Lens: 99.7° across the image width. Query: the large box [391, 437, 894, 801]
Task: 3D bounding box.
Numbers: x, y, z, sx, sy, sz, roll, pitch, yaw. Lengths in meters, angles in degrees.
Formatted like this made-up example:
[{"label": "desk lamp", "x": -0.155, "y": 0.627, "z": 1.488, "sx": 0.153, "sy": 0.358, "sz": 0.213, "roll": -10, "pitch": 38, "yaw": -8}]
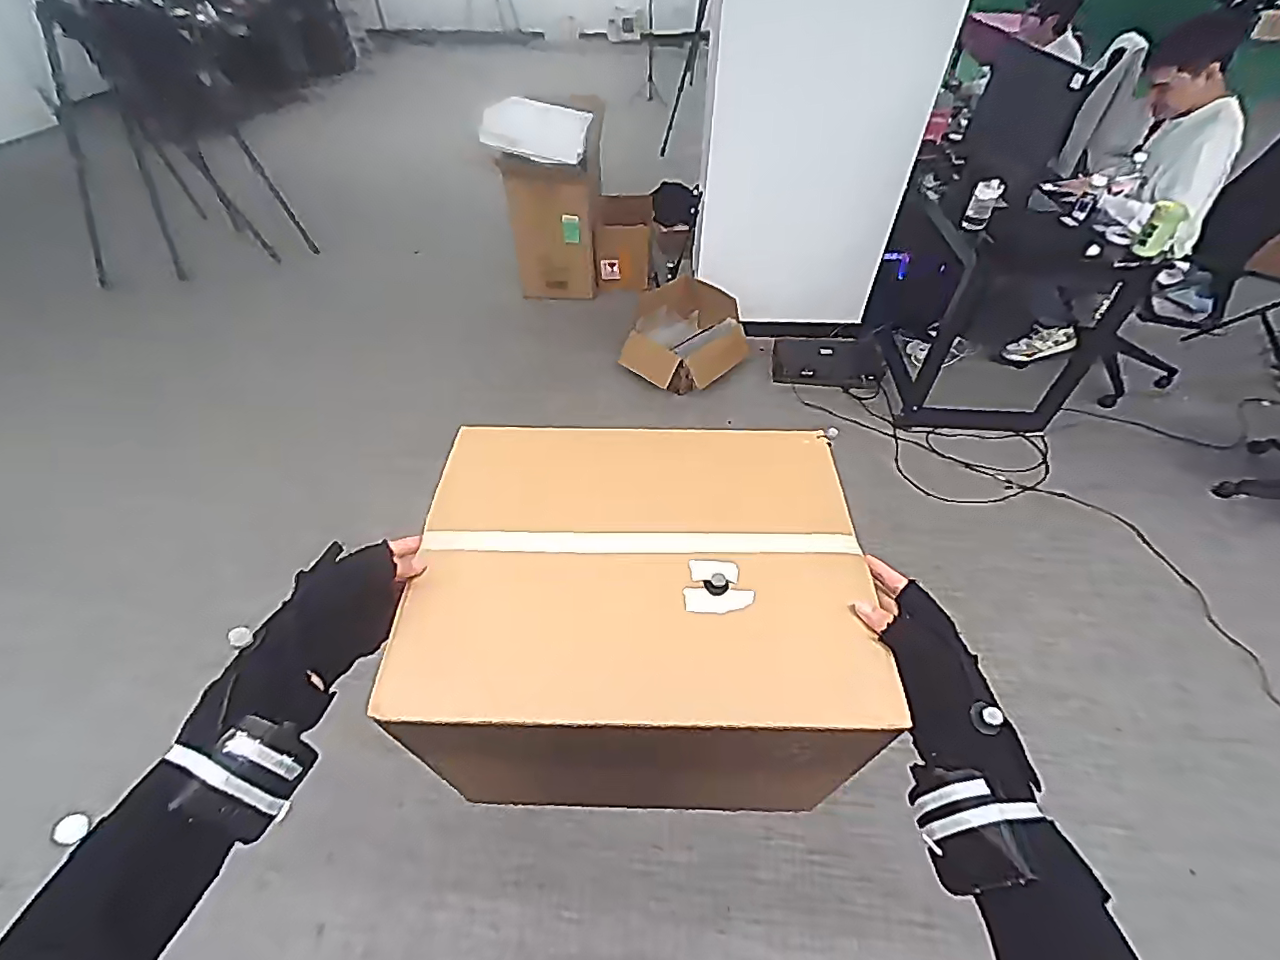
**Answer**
[{"label": "large box", "x": 0.000, "y": 0.166, "z": 0.627, "sx": 0.408, "sy": 0.320, "sz": 0.320, "roll": 1, "pitch": 49, "yaw": 0}]
